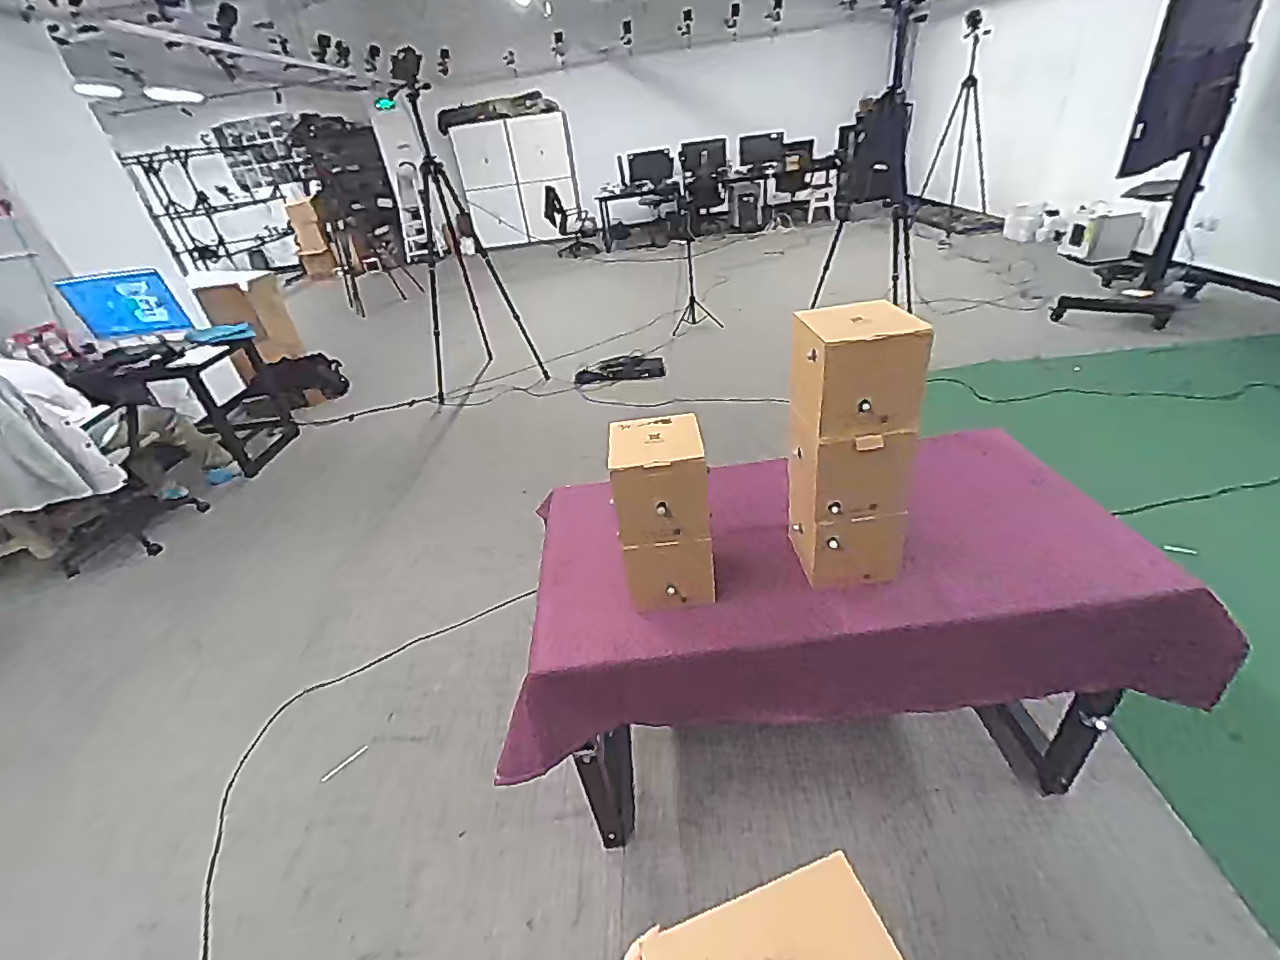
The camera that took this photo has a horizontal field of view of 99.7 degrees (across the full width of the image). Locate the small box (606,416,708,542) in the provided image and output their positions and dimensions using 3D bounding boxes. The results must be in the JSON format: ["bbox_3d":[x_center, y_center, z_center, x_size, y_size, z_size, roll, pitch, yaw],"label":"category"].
[{"bbox_3d":[0.032,0.003,1.006,0.168,0.176,0.179,-7,33,2],"label":"small box"}]

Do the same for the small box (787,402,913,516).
[{"bbox_3d":[0.376,-0.046,0.999,0.168,0.176,0.179,-8,31,1],"label":"small box"}]

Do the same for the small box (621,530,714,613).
[{"bbox_3d":[0.054,0.142,1.091,0.168,0.176,0.179,-8,32,3],"label":"small box"}]

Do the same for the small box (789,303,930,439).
[{"bbox_3d":[0.357,-0.187,0.920,0.168,0.176,0.179,-8,32,1],"label":"small box"}]
